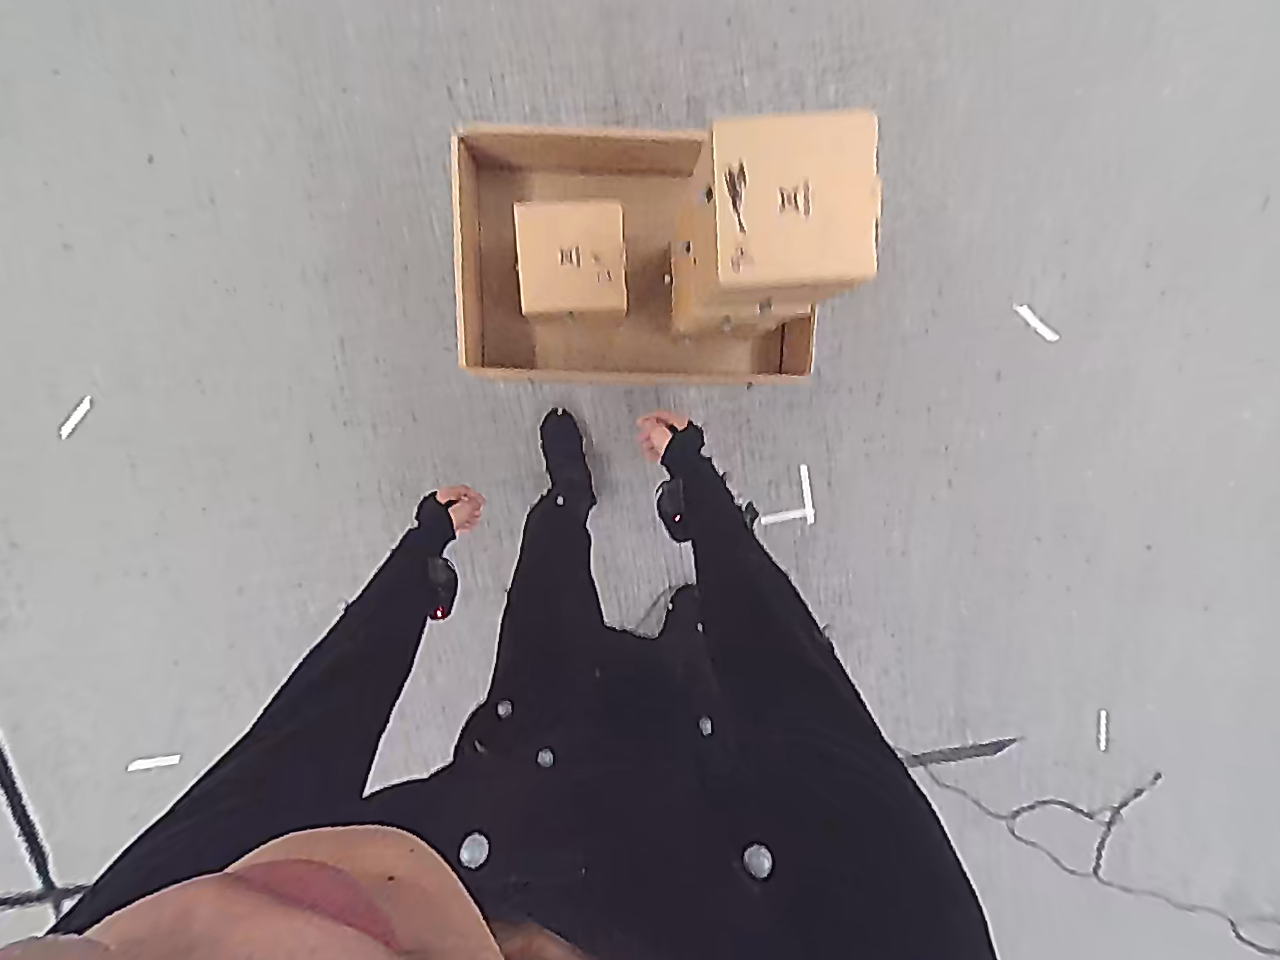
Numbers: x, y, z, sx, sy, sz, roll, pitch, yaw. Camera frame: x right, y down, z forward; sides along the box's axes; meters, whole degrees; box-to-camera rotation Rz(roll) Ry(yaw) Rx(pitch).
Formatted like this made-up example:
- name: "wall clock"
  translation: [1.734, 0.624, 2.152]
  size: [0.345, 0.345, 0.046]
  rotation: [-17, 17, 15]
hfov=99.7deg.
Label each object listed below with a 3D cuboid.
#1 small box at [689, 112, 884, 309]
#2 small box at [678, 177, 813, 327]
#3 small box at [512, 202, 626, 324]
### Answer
- name: "small box"
  translation: [0.159, -0.299, 0.633]
  size: [0.179, 0.176, 0.168]
  rotation: [-4, 98, -3]
- name: "small box"
  translation: [0.149, -0.322, 0.795]
  size: [0.168, 0.176, 0.179]
  rotation: [-2, 99, -3]
- name: "small box"
  translation: [-0.115, -0.366, 0.938]
  size: [0.179, 0.176, 0.168]
  rotation: [-3, 100, -3]
